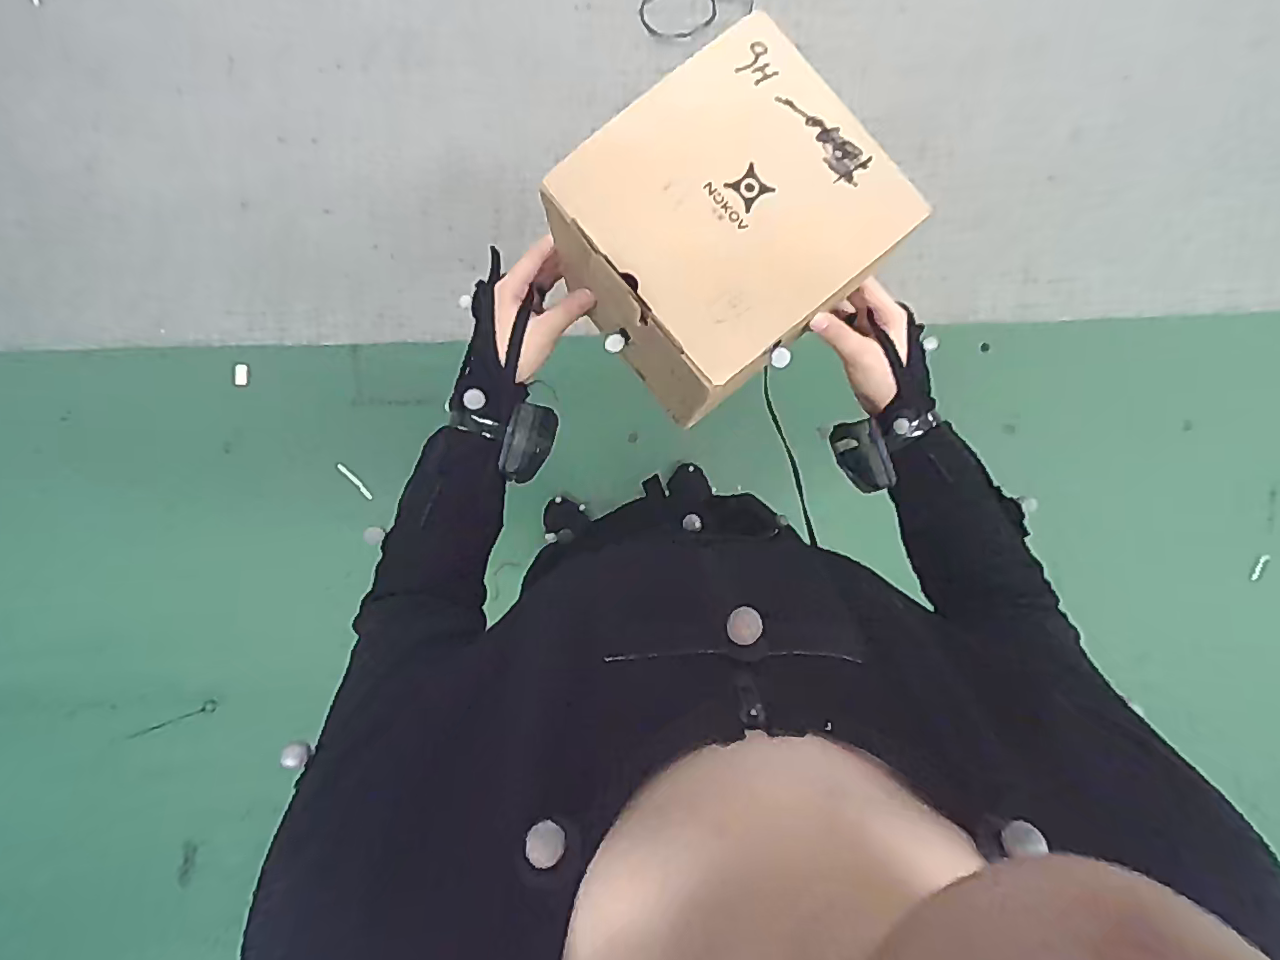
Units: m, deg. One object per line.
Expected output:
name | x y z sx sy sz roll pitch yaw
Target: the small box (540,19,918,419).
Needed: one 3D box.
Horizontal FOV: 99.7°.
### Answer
small box | 0.055 -0.166 0.409 0.179 0.176 0.168 -39 88 -2
